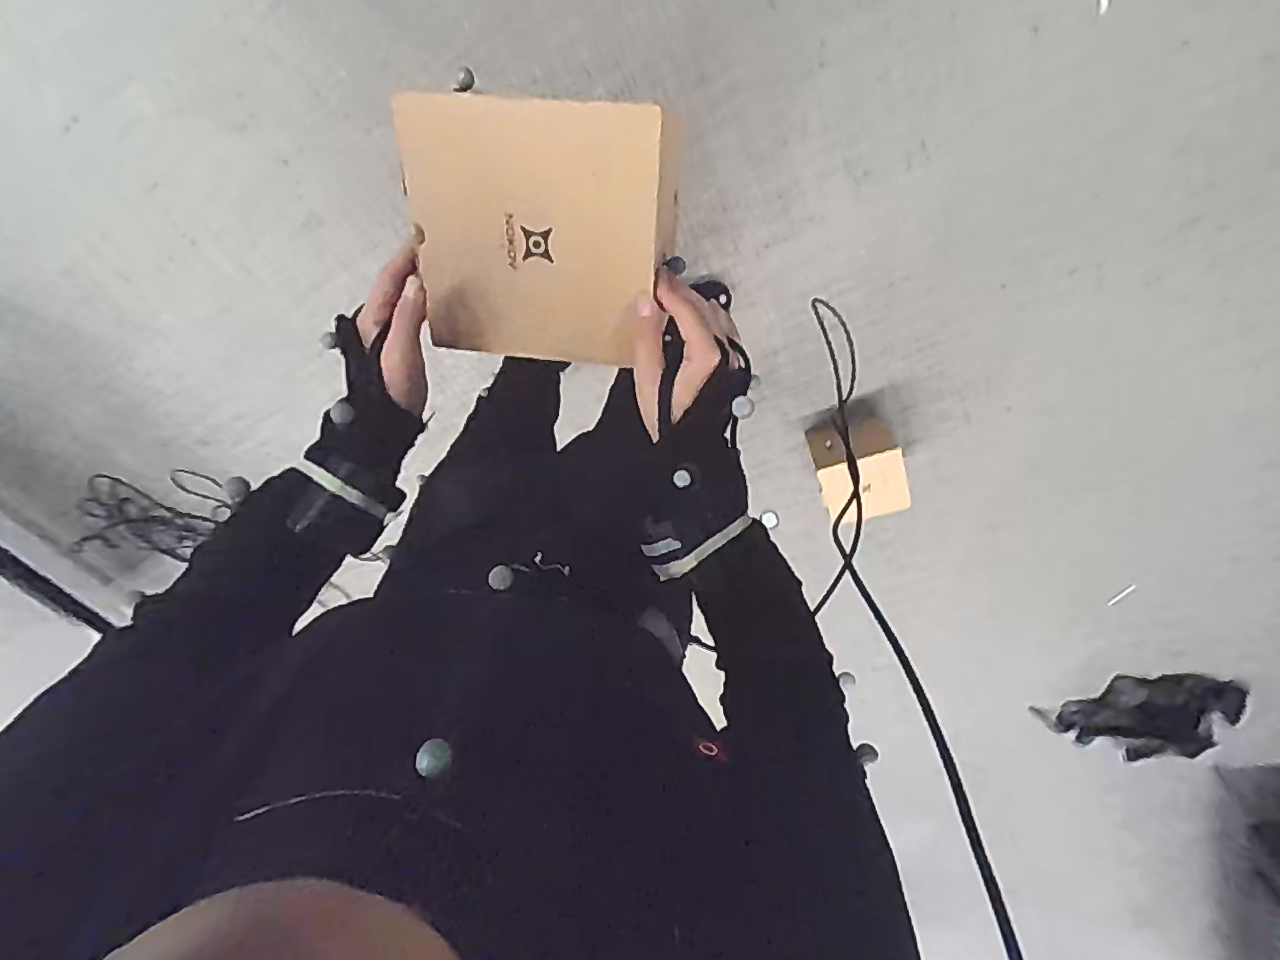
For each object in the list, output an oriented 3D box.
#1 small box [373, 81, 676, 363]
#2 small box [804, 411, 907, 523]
[{"bbox_3d":[-0.067,-0.205,0.424,0.179,0.176,0.168,6,124,6],"label":"small box"},{"bbox_3d":[0.484,-0.032,1.237,0.179,0.176,0.168,-18,122,16],"label":"small box"}]
